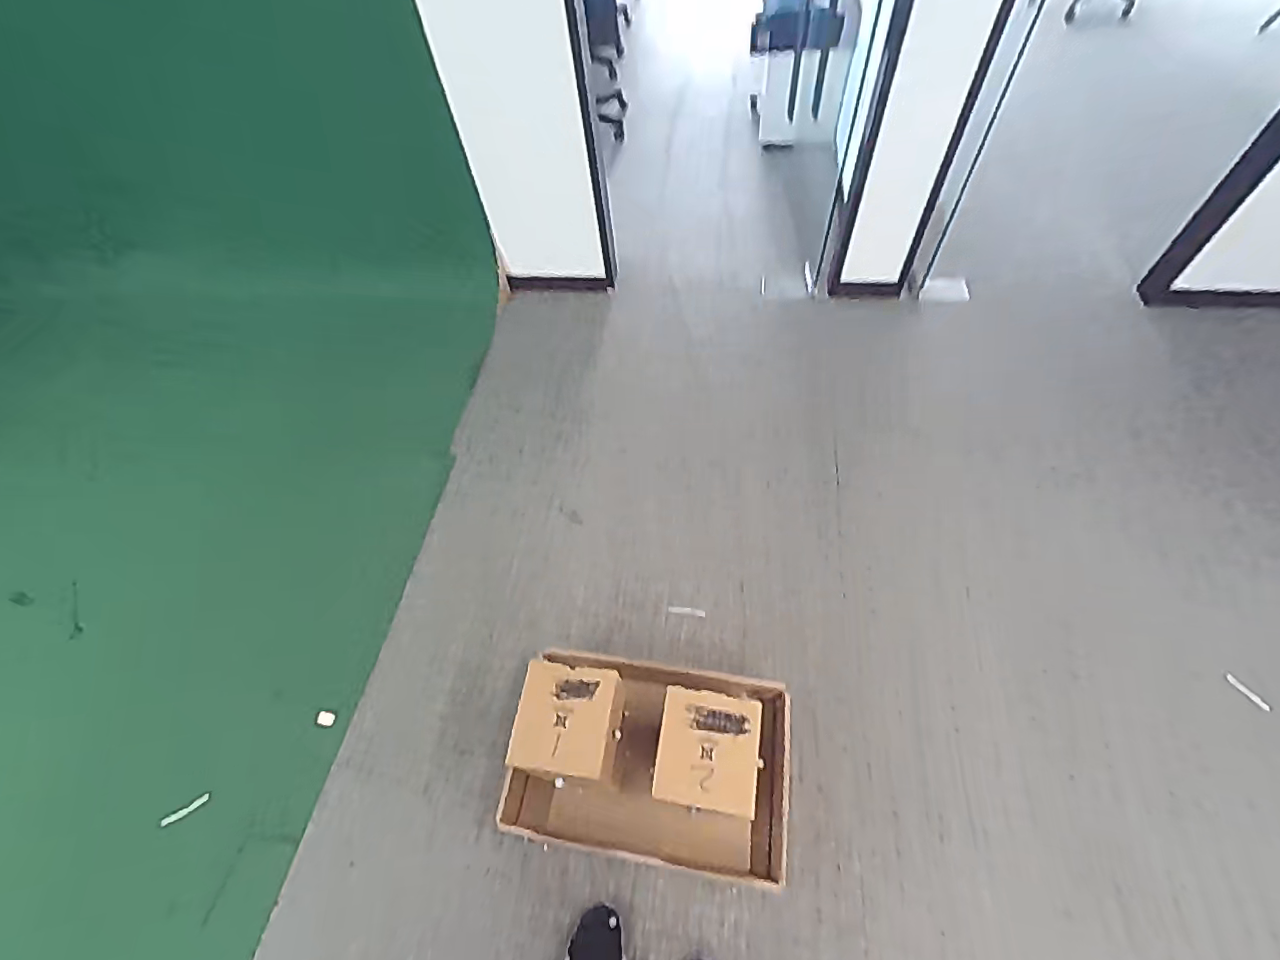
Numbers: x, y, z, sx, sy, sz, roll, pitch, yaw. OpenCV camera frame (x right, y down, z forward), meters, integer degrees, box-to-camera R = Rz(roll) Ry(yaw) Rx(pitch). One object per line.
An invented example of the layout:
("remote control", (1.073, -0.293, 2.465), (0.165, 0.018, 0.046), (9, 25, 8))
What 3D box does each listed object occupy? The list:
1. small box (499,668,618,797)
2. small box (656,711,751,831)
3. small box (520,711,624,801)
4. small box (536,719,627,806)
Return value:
("small box", (-0.137, 0.466, 0.994), (0.168, 0.176, 0.179), (6, 57, 8))
("small box", (0.128, 0.588, 1.089), (0.168, 0.176, 0.179), (5, 56, 10))
("small box", (-0.131, 0.557, 1.130), (0.168, 0.176, 0.179), (5, 56, 8))
("small box", (-0.127, 0.647, 1.264), (0.168, 0.176, 0.179), (7, 57, 8))
